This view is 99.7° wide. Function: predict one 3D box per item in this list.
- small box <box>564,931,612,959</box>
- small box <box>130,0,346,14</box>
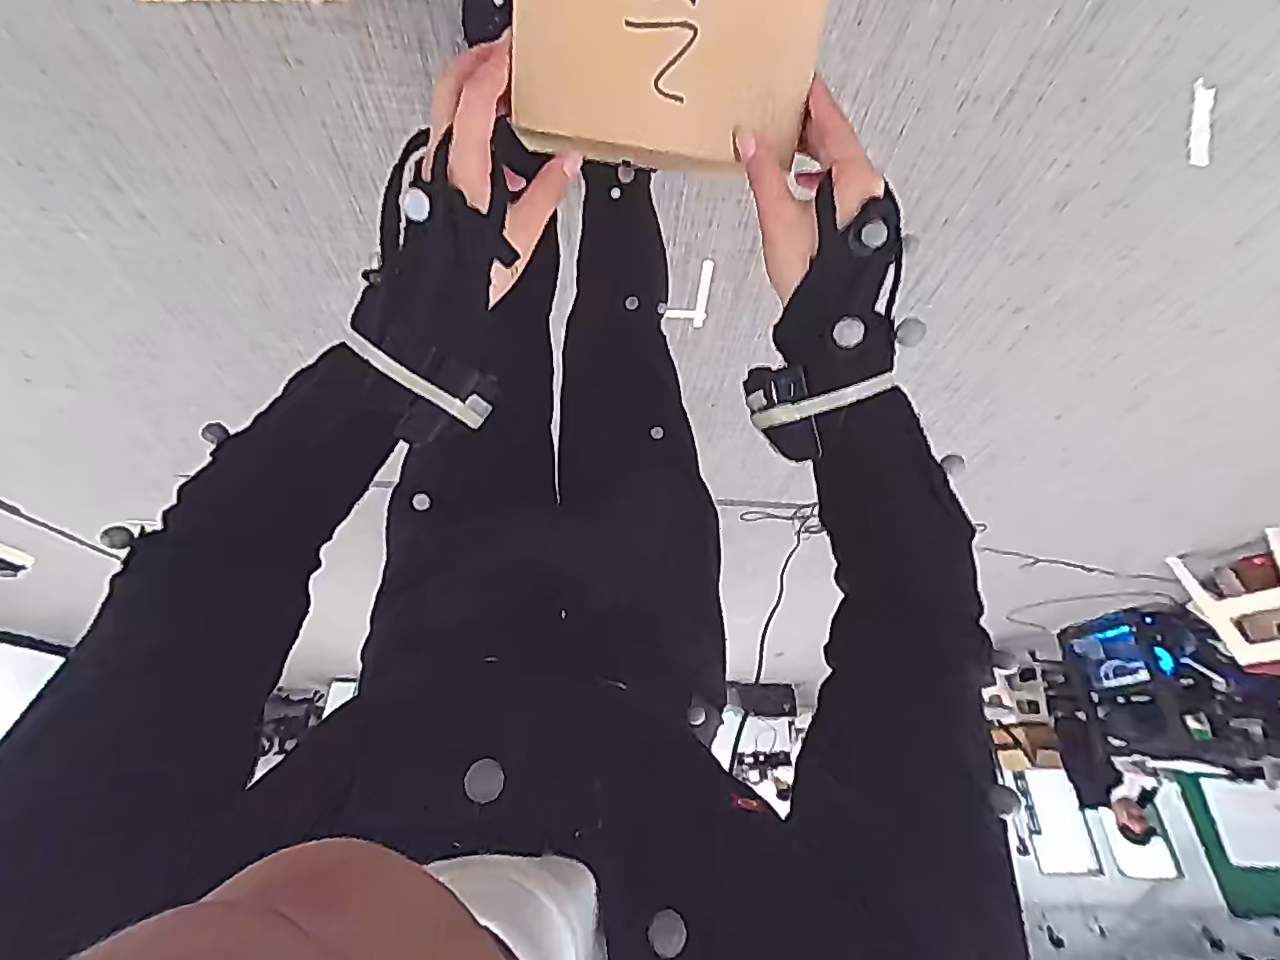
[{"bbox_3d":[-0.196,1.801,2.011,0.179,0.176,0.168,2,151,-1],"label":"small box"},{"bbox_3d":[-0.320,-0.488,0.408,0.179,0.176,0.168,-1,150,0],"label":"small box"}]
